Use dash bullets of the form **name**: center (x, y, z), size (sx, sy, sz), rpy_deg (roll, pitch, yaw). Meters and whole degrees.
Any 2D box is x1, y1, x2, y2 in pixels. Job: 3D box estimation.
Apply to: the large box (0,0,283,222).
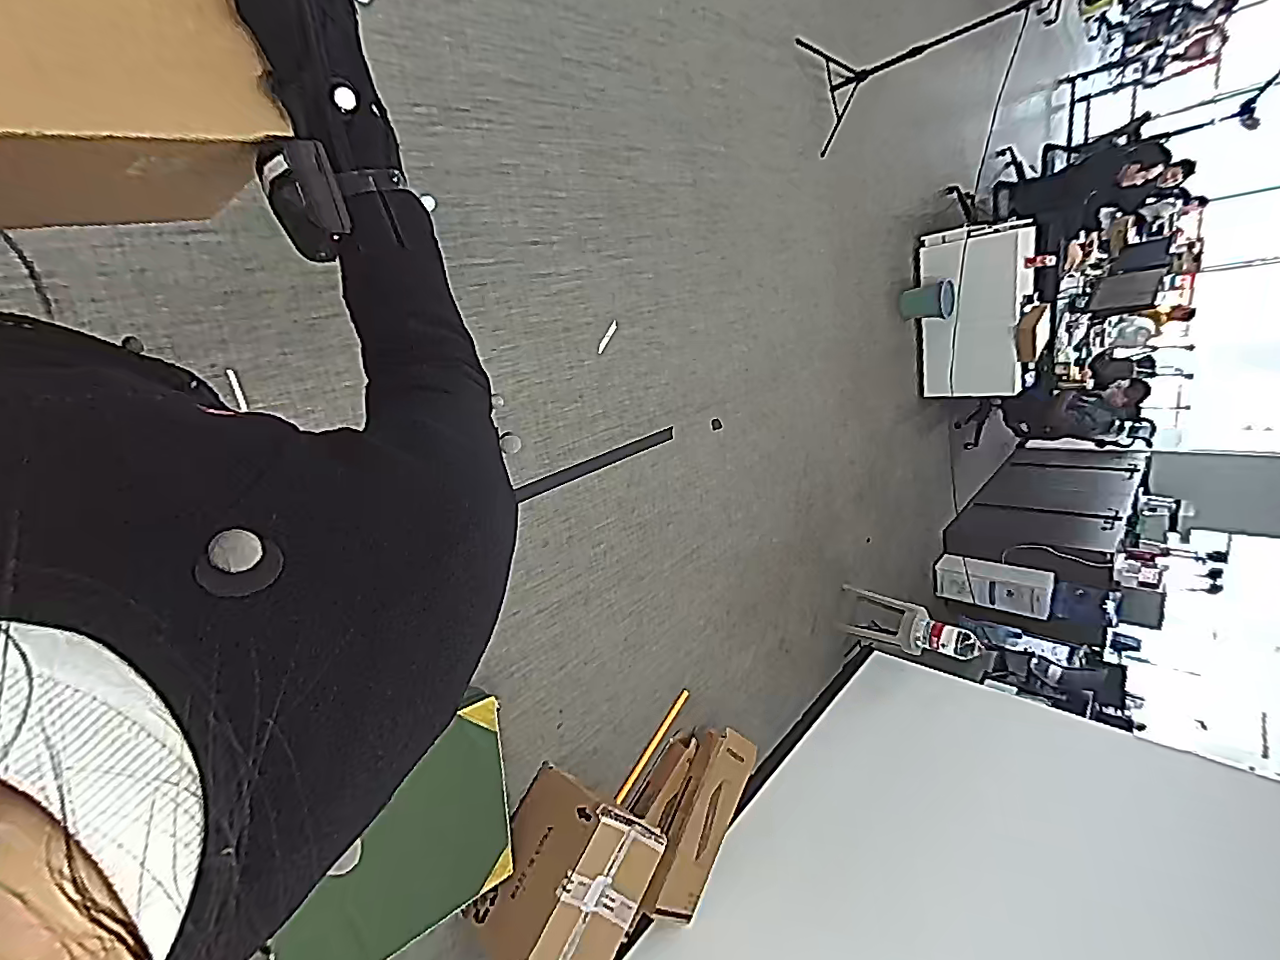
- **large box**: center (-0.504, -0.320, 0.280), size (0.408, 0.320, 0.320), rpy_deg (-30, 121, -40)
